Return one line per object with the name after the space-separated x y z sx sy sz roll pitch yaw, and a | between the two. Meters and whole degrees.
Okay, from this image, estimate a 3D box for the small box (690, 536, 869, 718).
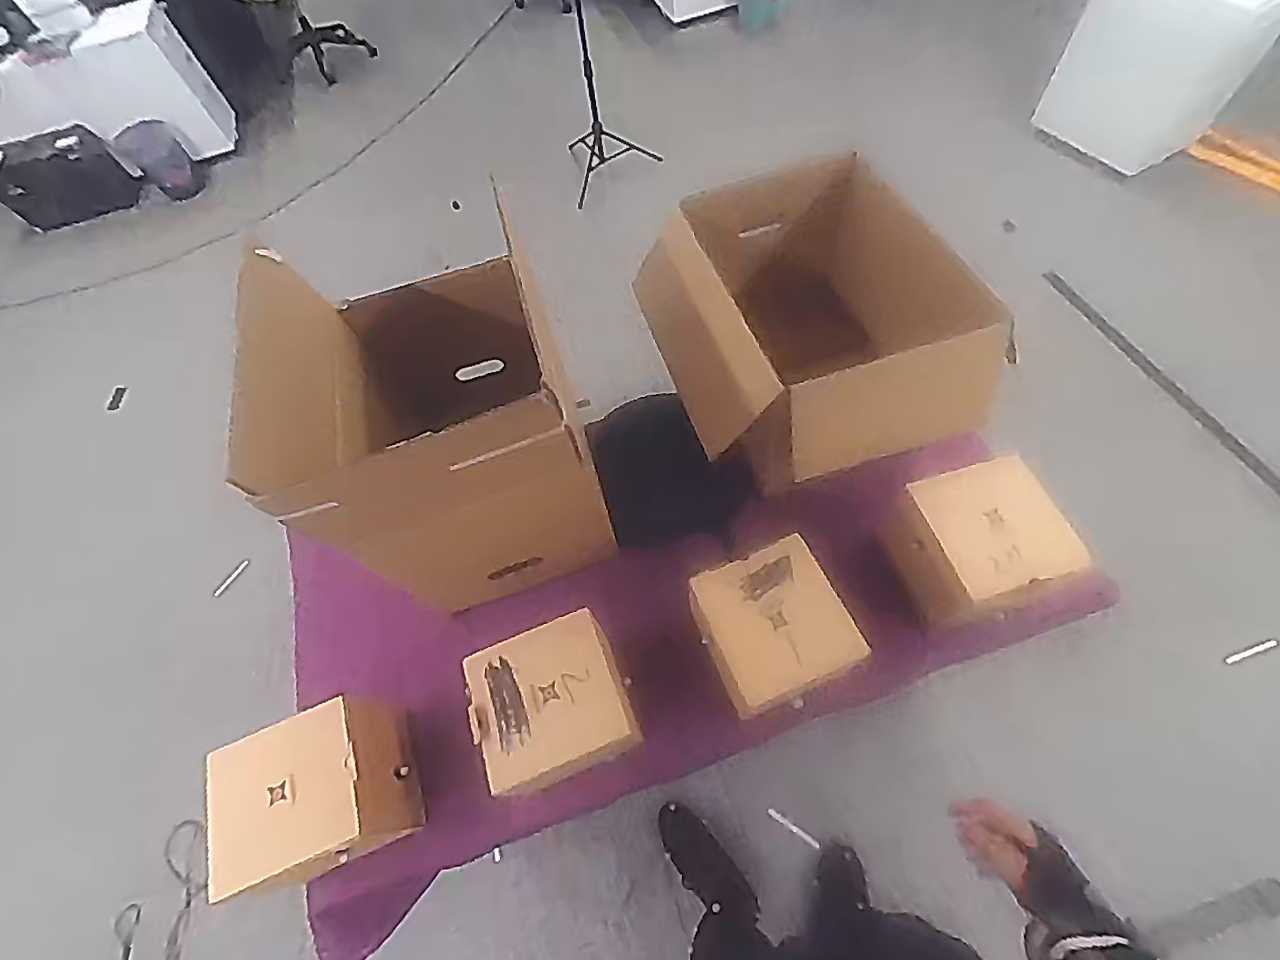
0.178 0.209 0.749 0.168 0.176 0.179 -22 62 -5 | small box

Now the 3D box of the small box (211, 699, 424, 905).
-0.415 0.415 0.711 0.179 0.176 0.168 -23 61 -7 | small box
